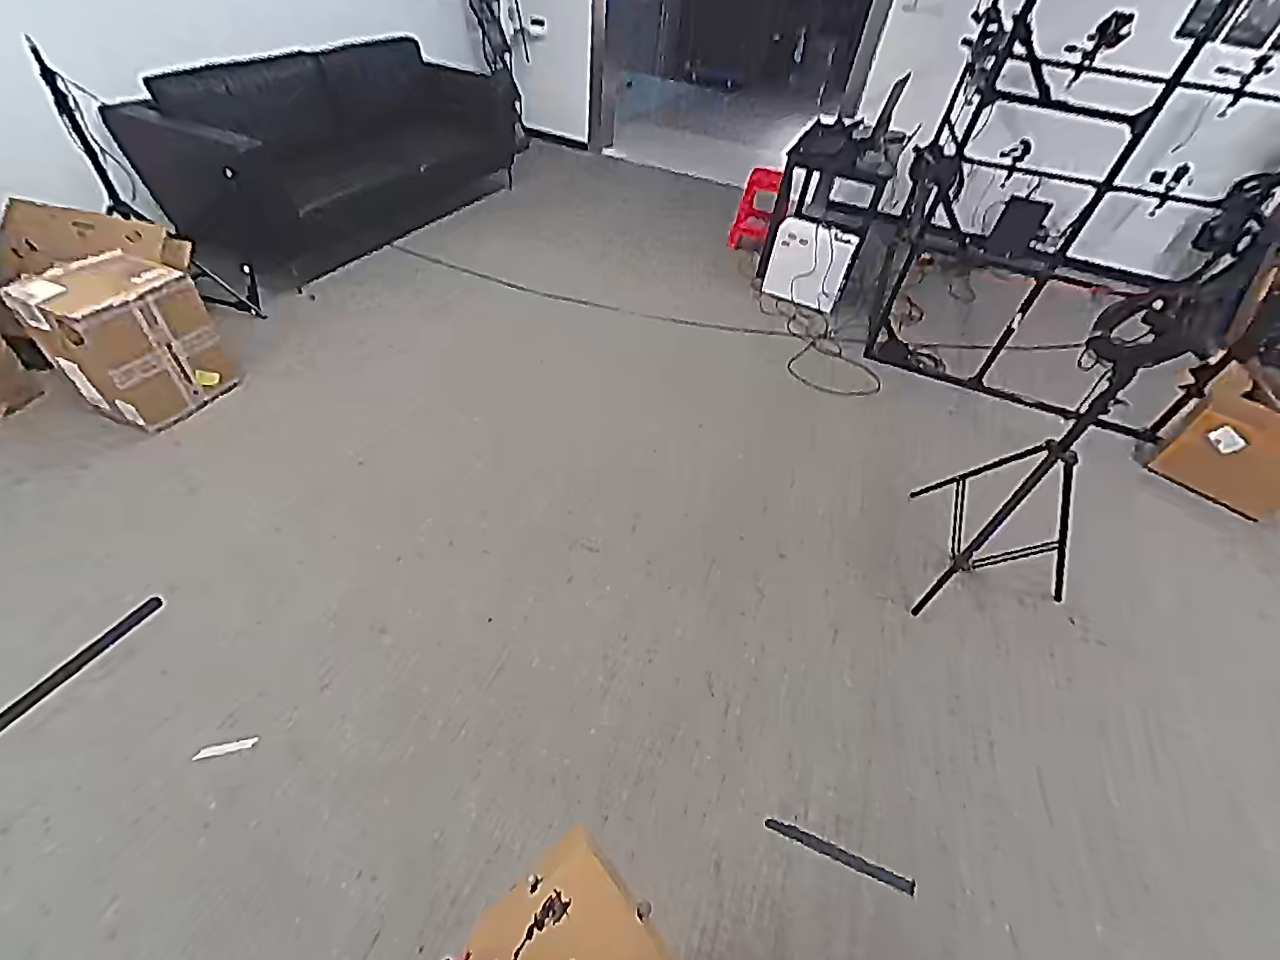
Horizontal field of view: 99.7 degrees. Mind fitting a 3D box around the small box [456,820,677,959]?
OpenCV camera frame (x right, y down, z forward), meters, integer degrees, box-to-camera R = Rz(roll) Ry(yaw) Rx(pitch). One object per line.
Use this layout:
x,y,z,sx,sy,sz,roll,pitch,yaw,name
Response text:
-0.070,0.505,0.578,0.168,0.176,0.179,-36,76,-21,small box
